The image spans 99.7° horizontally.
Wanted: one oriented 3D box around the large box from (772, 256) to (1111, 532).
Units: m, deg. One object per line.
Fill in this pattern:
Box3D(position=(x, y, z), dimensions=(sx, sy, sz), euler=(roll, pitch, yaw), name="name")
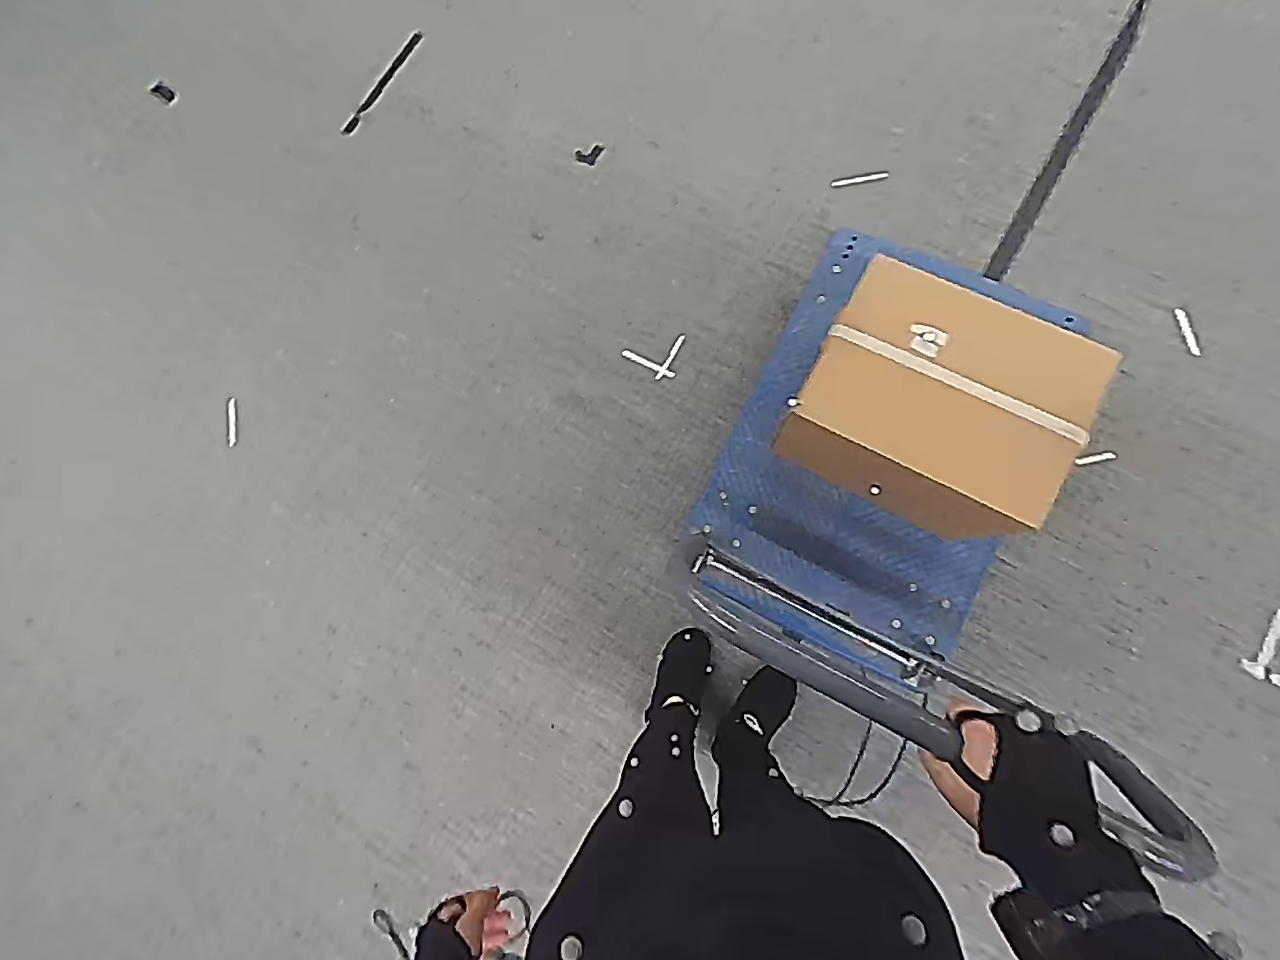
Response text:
Box3D(position=(0.504, -0.133, 0.999), dimensions=(0.408, 0.320, 0.320), euler=(28, 84, 12), name="large box")
